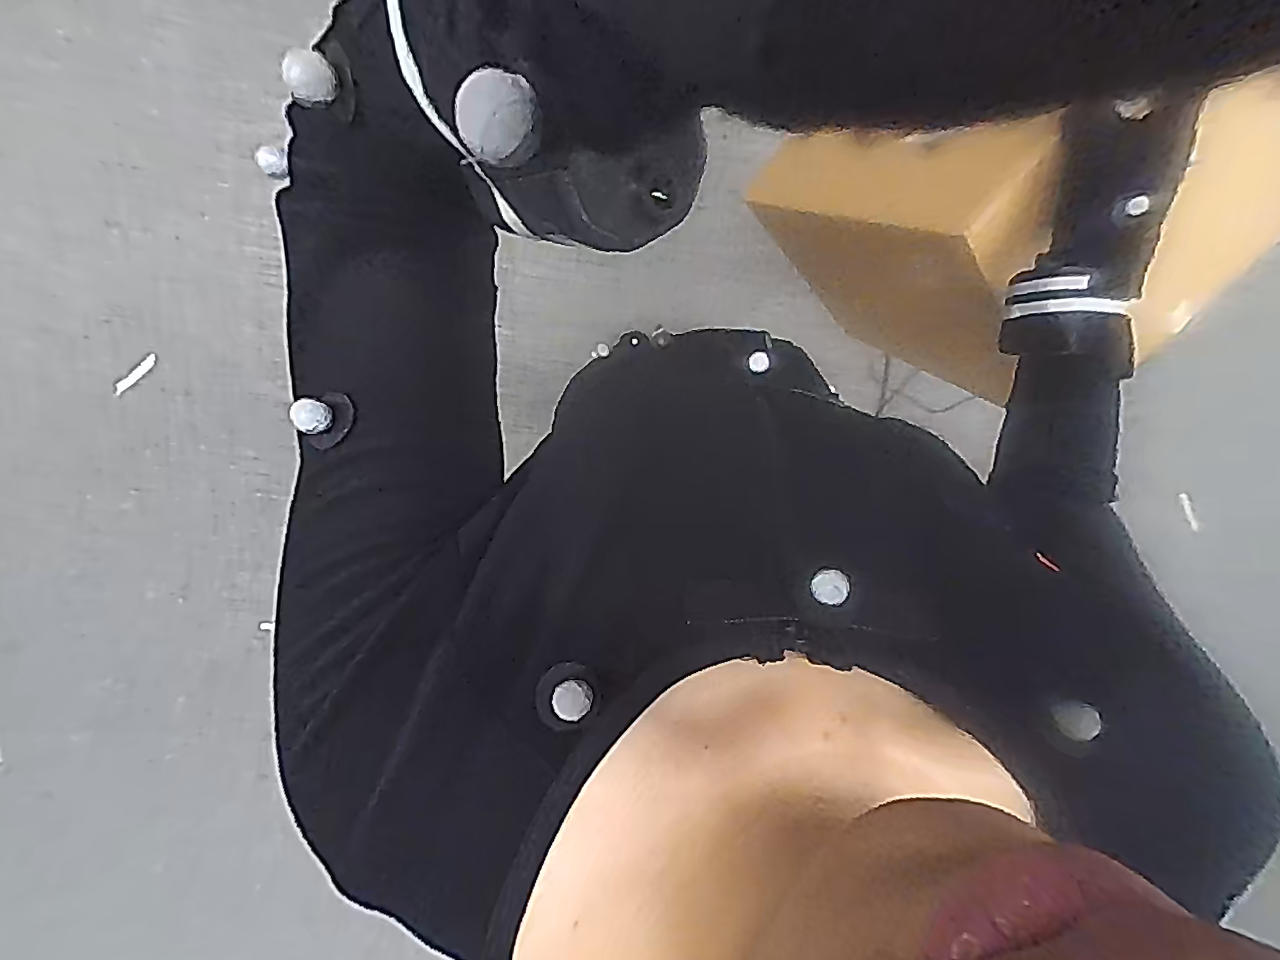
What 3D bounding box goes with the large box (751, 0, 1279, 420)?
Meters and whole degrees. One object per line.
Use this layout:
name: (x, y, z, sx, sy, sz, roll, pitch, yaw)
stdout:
large box: (0.418, -0.341, 0.665, 0.320, 0.408, 0.320, 34, 105, -34)
